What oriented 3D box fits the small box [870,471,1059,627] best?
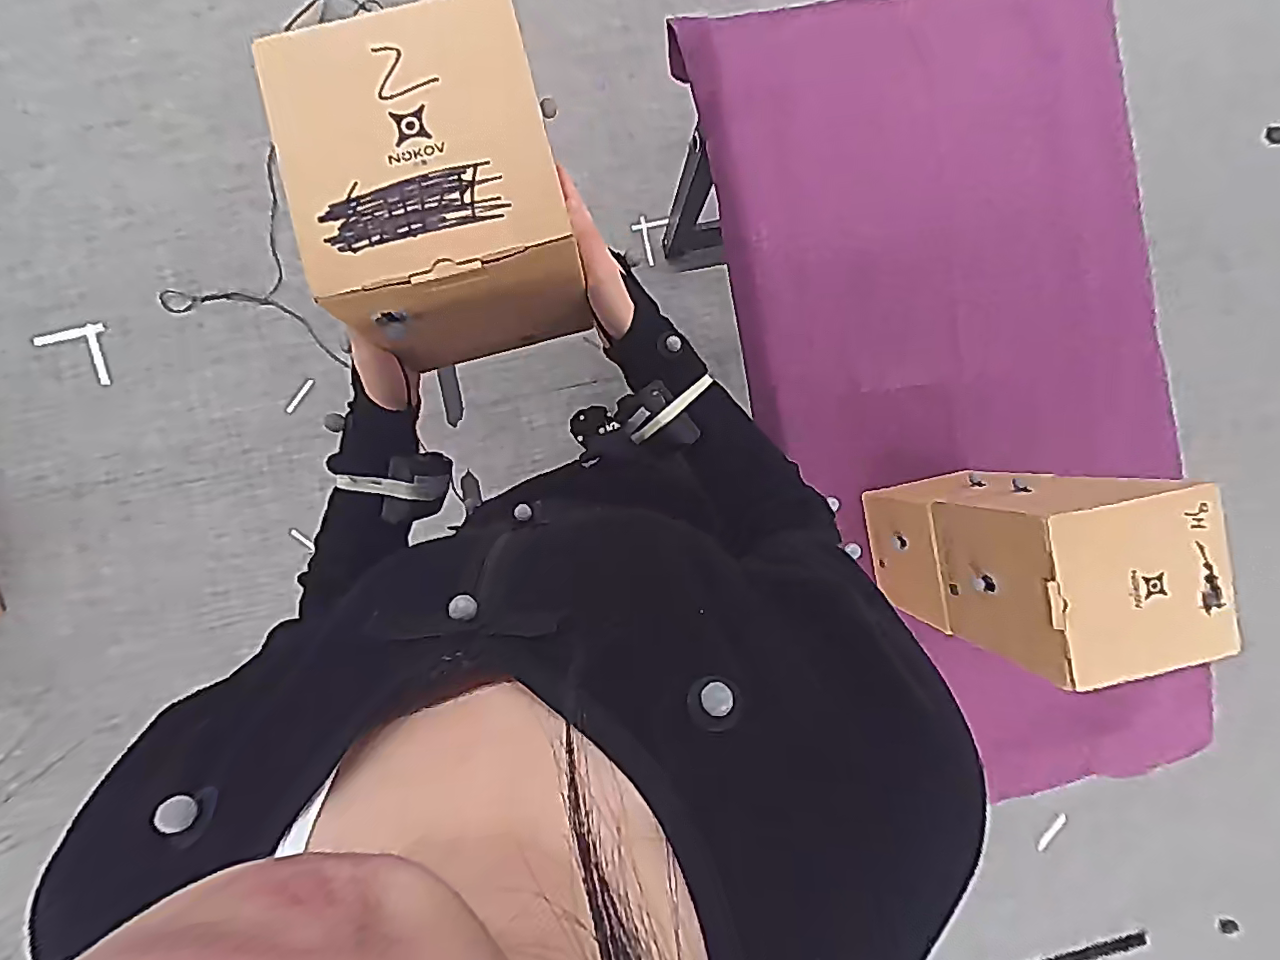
[{"bbox_3d":[0.436,0.083,0.738,0.179,0.176,0.168,-11,93,-5],"label":"small box"}]

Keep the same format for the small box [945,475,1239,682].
[{"bbox_3d":[0.454,0.090,0.576,0.179,0.176,0.168,-10,93,-4],"label":"small box"}]
